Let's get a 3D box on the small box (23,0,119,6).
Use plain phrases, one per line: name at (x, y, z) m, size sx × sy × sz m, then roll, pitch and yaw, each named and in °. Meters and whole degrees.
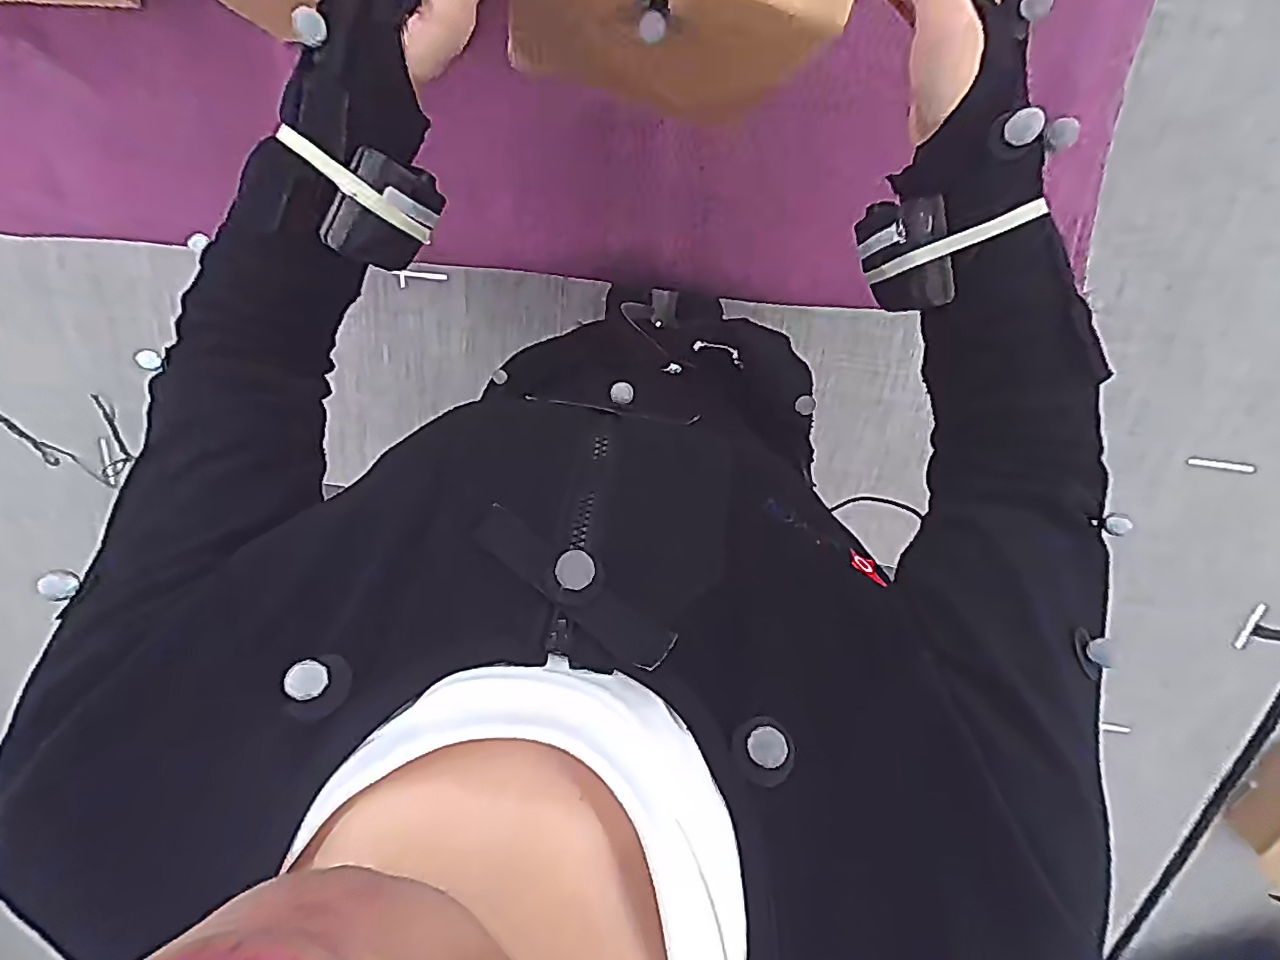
small box at (-0.545, -0.498, 0.407) m, size 0.179 × 0.176 × 0.168 m, roll 4°, pitch 109°, yaw 1°
